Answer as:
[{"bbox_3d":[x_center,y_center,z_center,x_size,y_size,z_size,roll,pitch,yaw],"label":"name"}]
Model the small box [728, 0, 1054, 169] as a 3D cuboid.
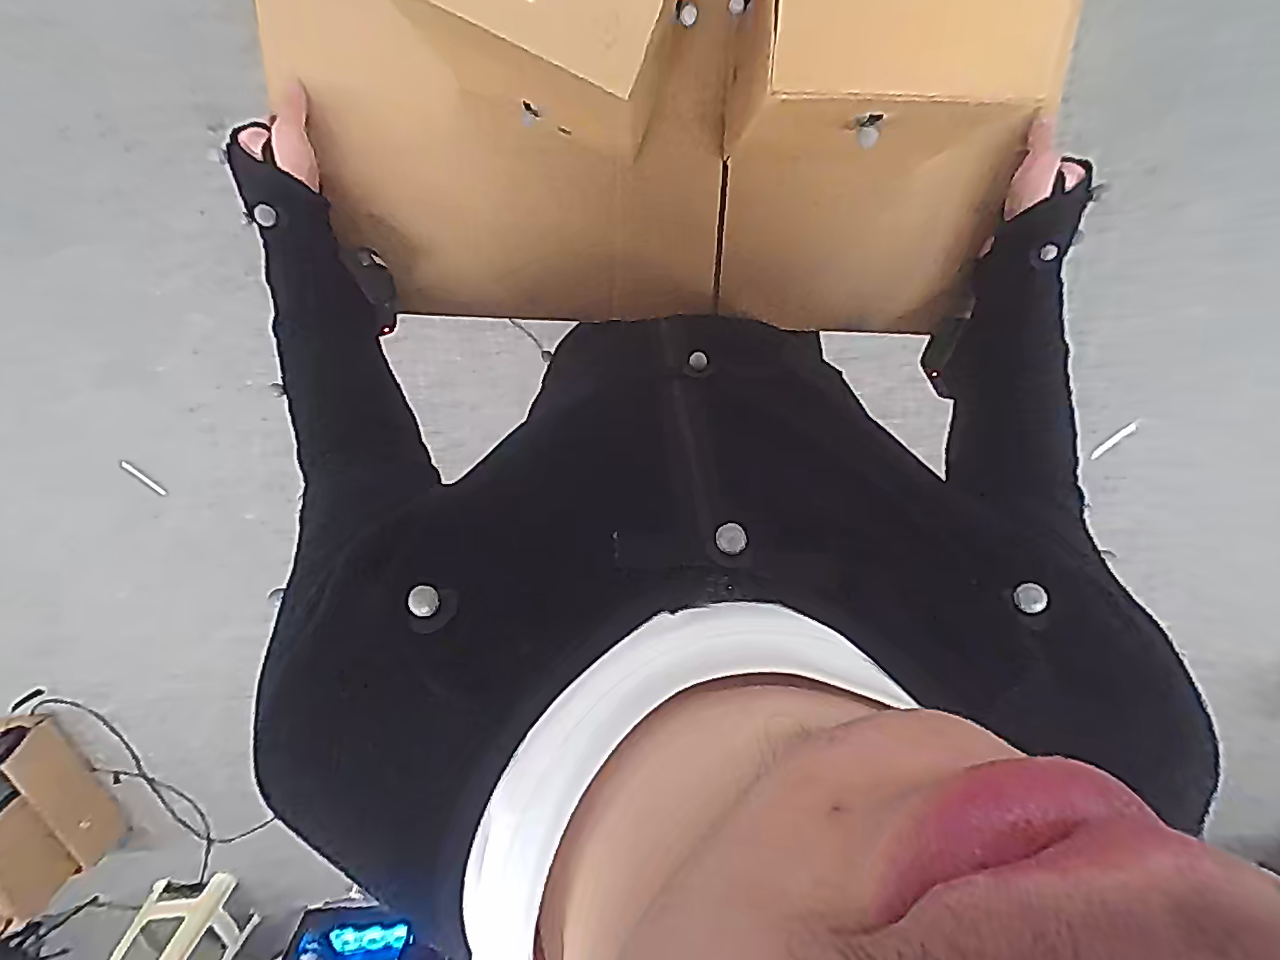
[{"bbox_3d":[0.171,-0.345,0.403,0.179,0.176,0.168,1,107,0],"label":"small box"}]
